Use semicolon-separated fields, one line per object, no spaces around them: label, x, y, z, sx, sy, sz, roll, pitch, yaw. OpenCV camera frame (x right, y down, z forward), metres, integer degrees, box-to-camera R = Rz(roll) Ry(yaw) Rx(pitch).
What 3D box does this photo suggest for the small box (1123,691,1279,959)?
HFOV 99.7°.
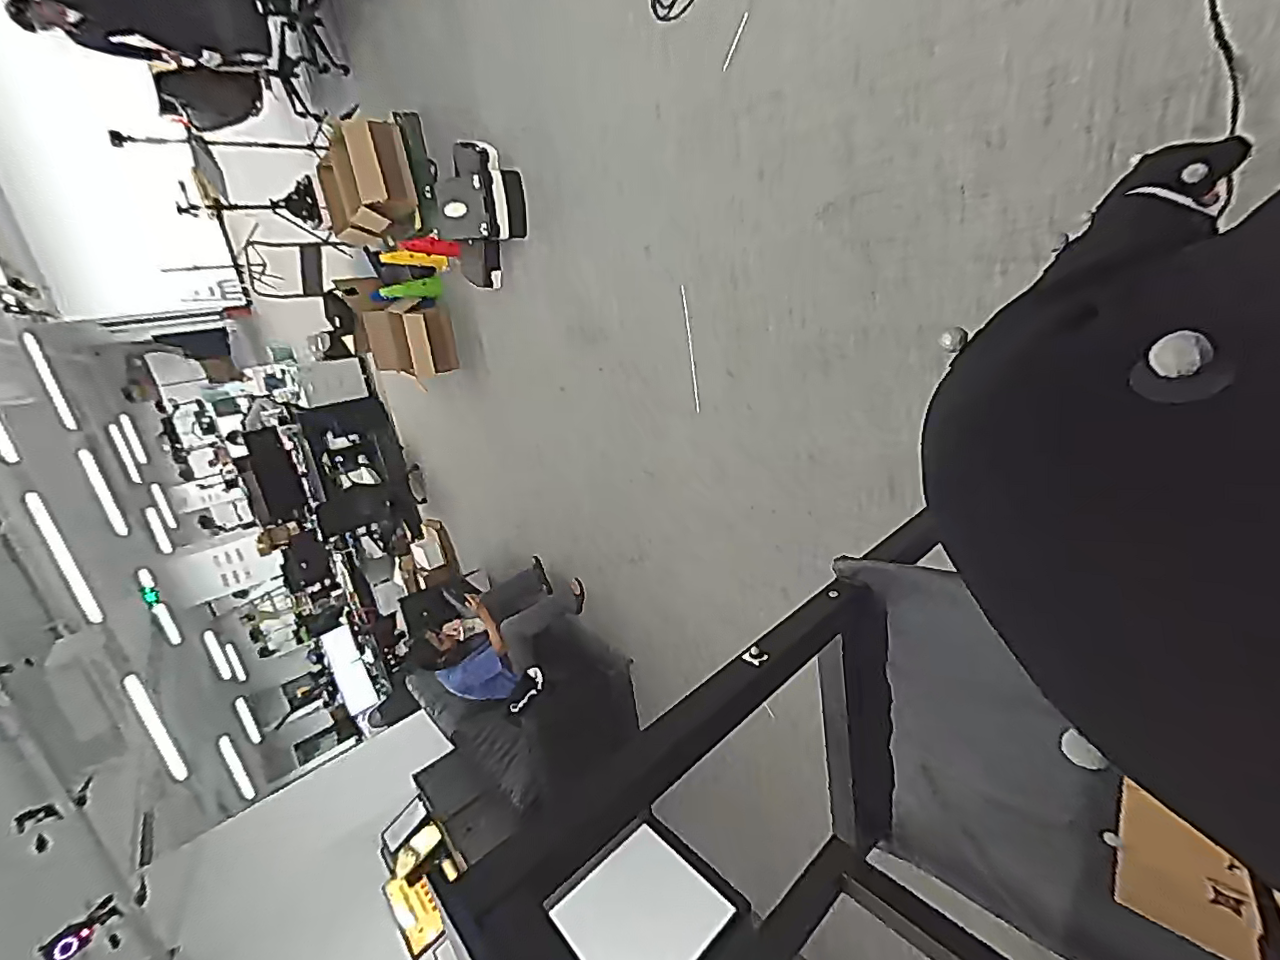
small box;0.632;0.362;0.561;0.168;0.176;0.179;8;115;49
